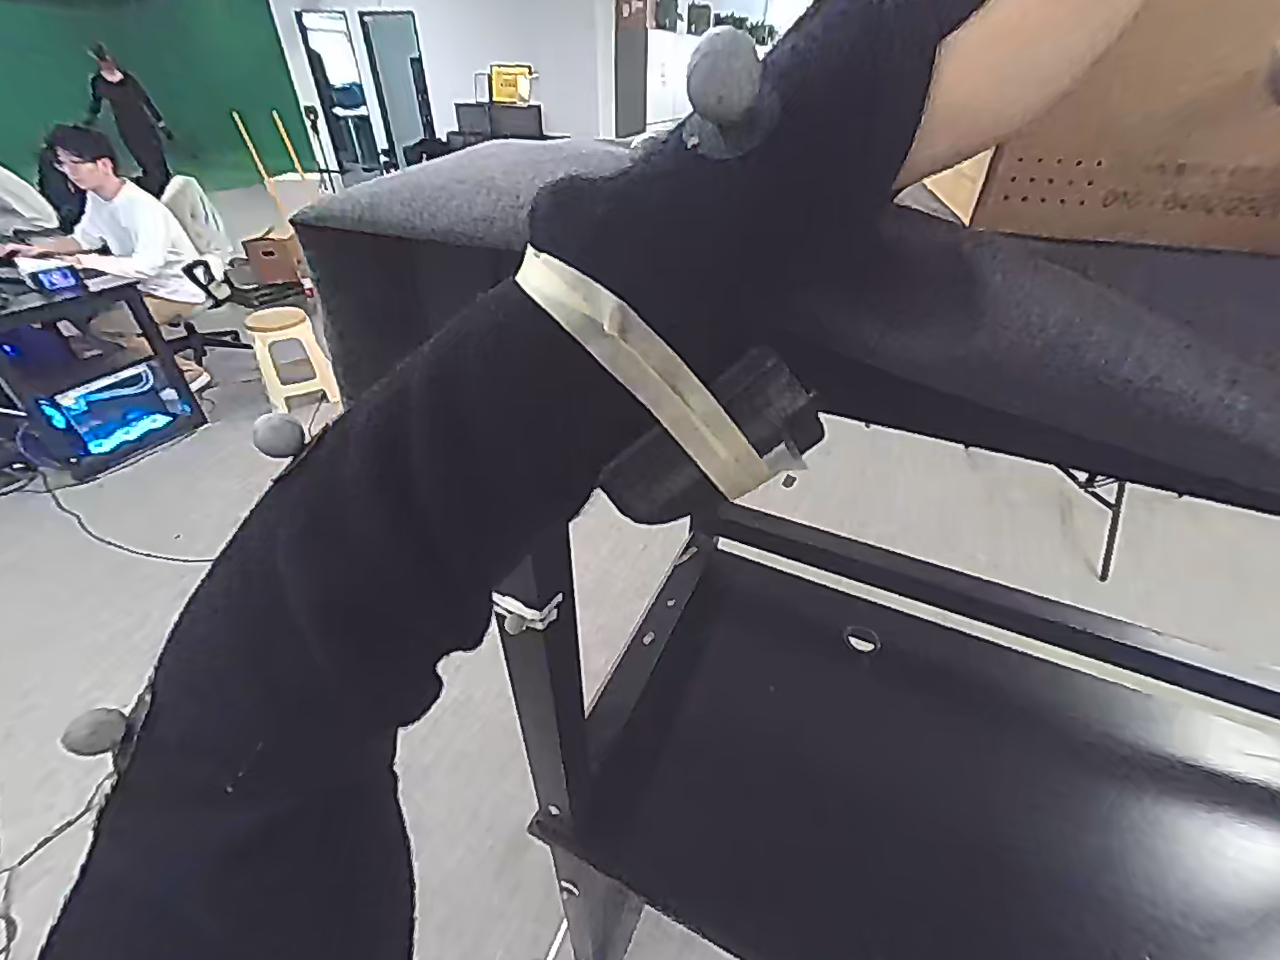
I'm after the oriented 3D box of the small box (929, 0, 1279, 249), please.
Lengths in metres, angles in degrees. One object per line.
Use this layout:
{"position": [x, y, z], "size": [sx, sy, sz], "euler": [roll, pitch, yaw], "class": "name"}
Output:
{"position": [0.235, -0.200, 0.215], "size": [0.168, 0.176, 0.179], "euler": [11, 37, 13], "class": "small box"}
